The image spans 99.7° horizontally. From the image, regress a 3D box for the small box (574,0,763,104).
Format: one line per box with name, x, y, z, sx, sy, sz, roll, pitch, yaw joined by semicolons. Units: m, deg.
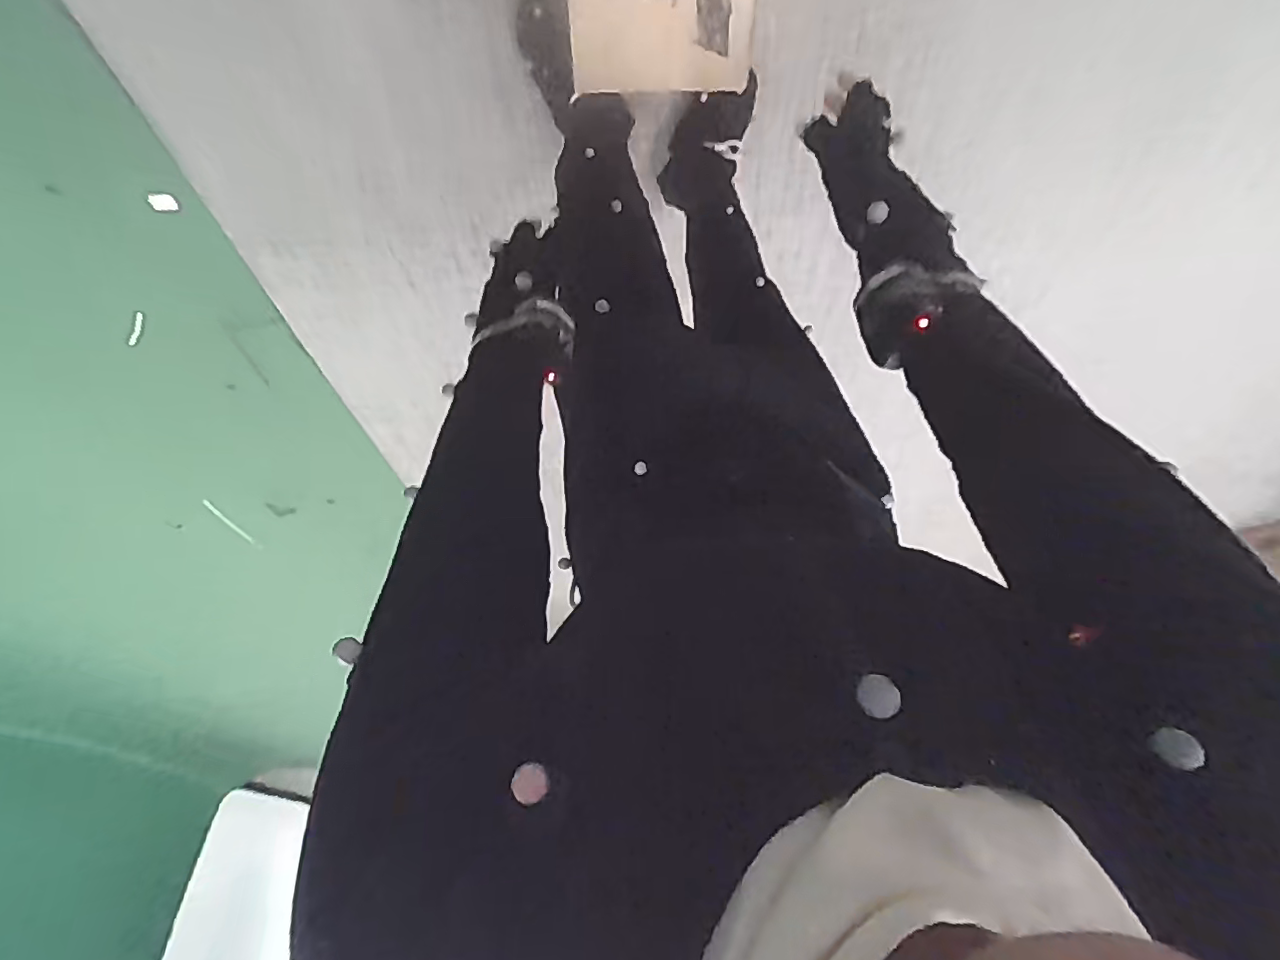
small box;0.023;-0.500;0.542;0.179;0.176;0.168;-1;140;-2
